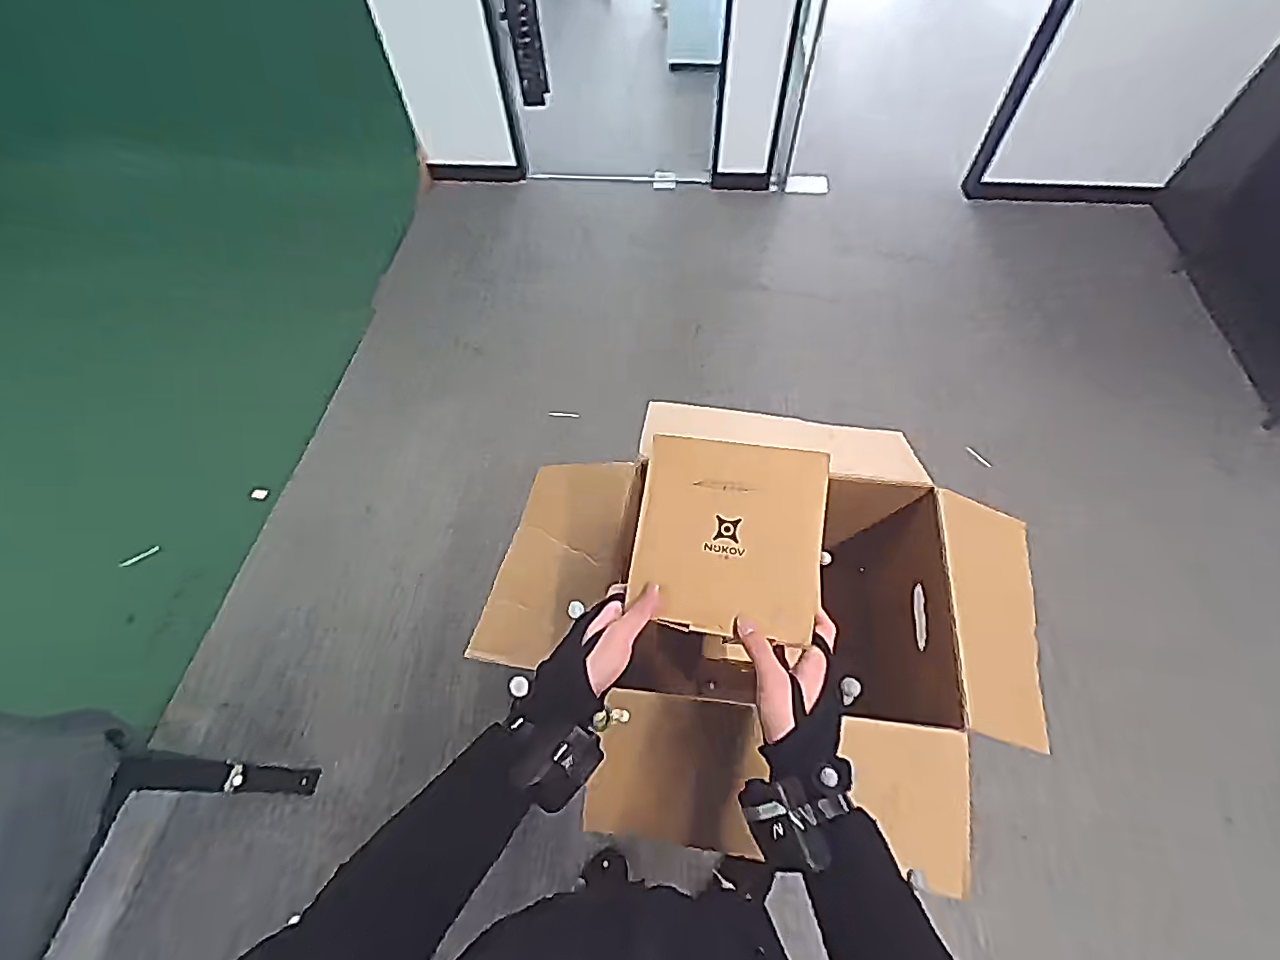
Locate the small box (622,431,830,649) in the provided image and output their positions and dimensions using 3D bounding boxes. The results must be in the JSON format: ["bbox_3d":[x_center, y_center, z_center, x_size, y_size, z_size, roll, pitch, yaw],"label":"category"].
[{"bbox_3d":[0.089,0.066,0.552,0.168,0.176,0.179,7,76,10],"label":"small box"}]
